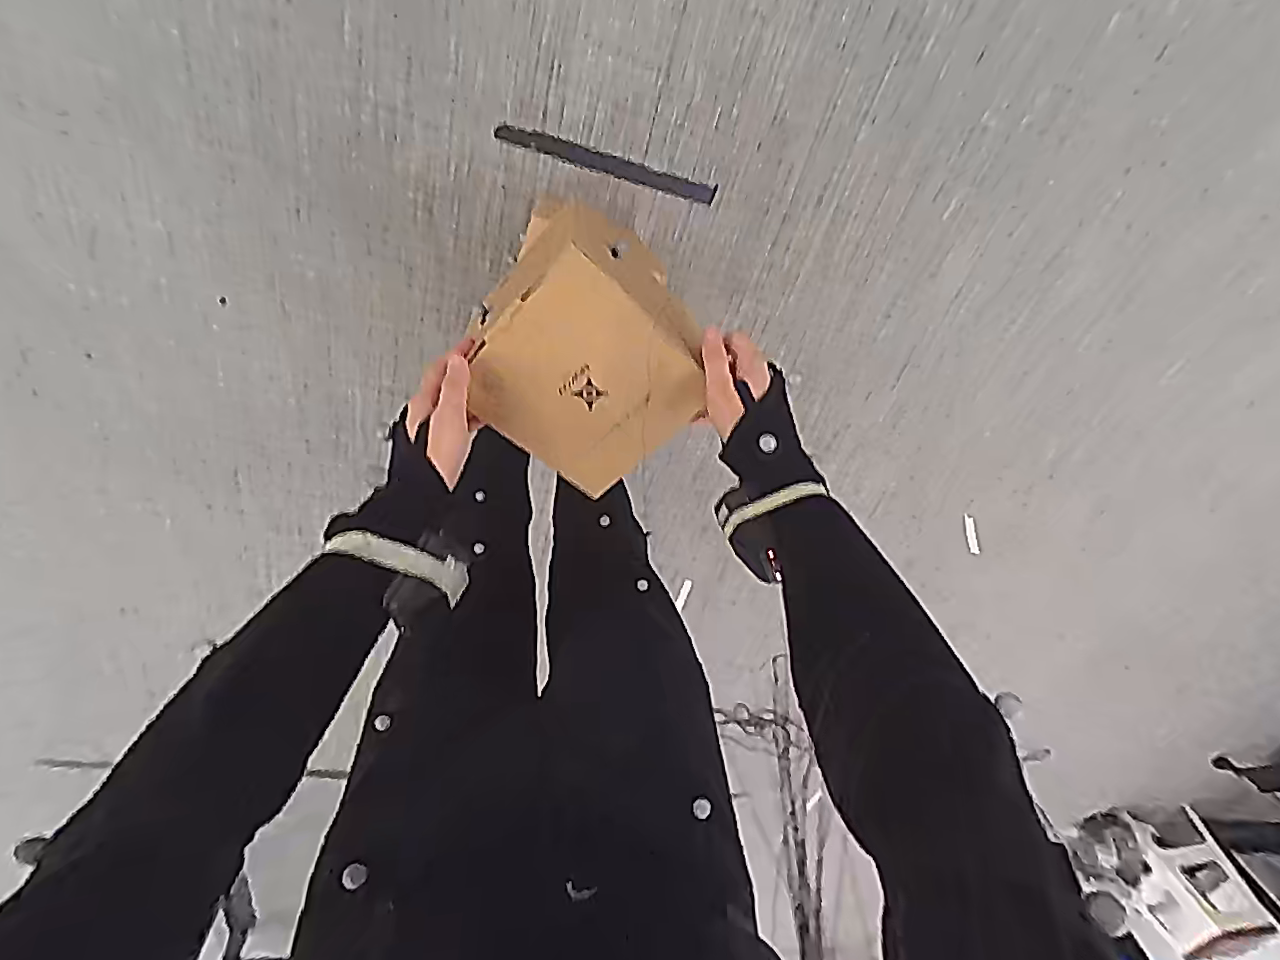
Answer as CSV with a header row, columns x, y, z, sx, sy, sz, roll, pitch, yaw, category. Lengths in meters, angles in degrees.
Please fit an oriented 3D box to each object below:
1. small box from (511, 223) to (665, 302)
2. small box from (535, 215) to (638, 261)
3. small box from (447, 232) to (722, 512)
x,y,z,sx,sy,sz,roll,pitch,yaw,category
-0.087,-0.237,0.749,0.179,0.176,0.168,18,119,-18,small box
-0.106,-0.319,0.892,0.179,0.176,0.168,16,119,-16,small box
-0.051,-0.109,0.519,0.168,0.176,0.179,-38,123,22,small box
